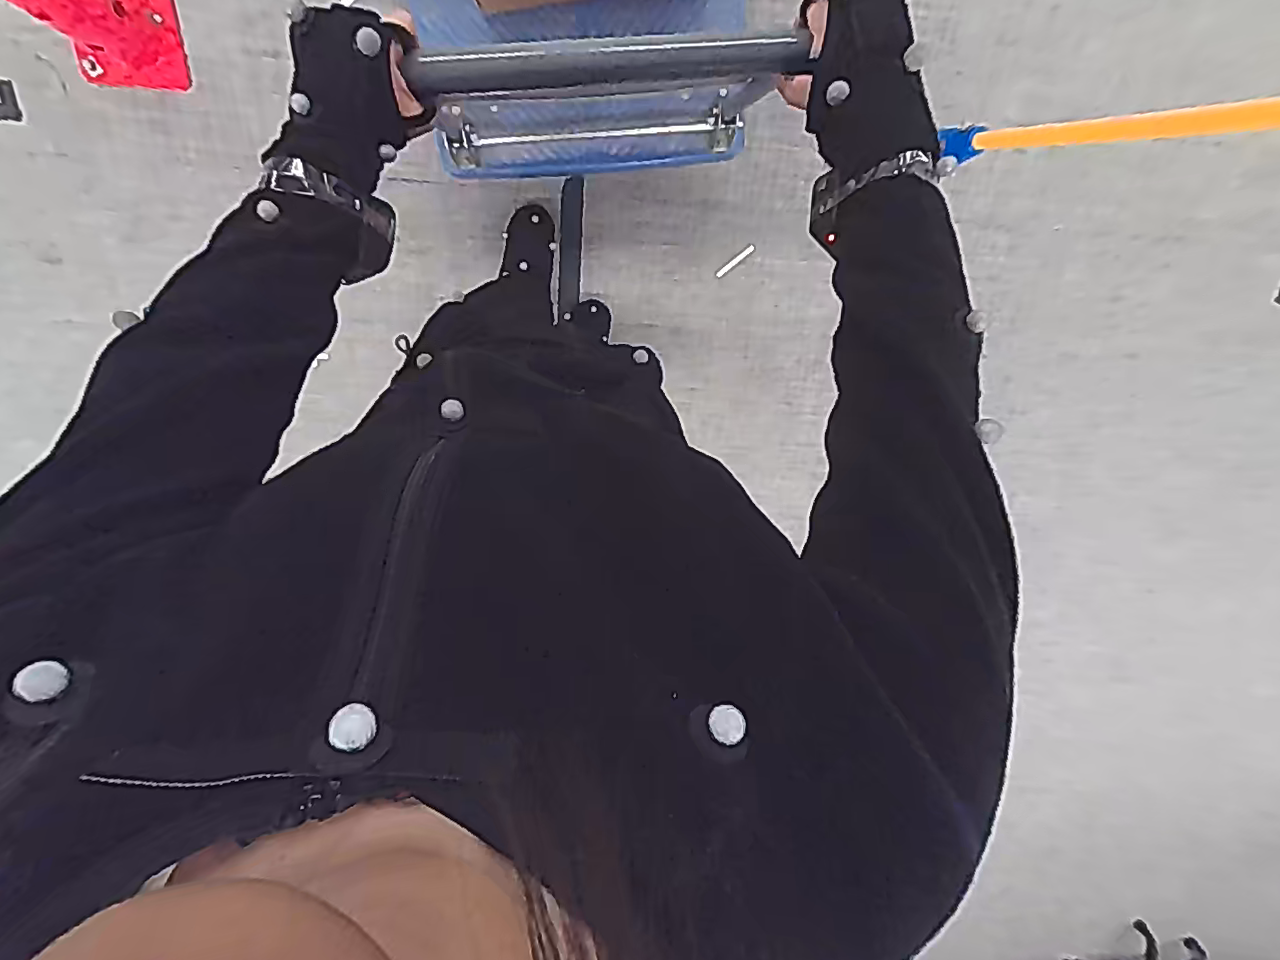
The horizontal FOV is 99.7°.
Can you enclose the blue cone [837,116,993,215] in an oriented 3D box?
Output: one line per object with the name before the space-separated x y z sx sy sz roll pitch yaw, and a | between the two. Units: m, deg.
blue cone | 0.555 -0.644 1.070 0.193 0.380 0.192 -1 112 -4
